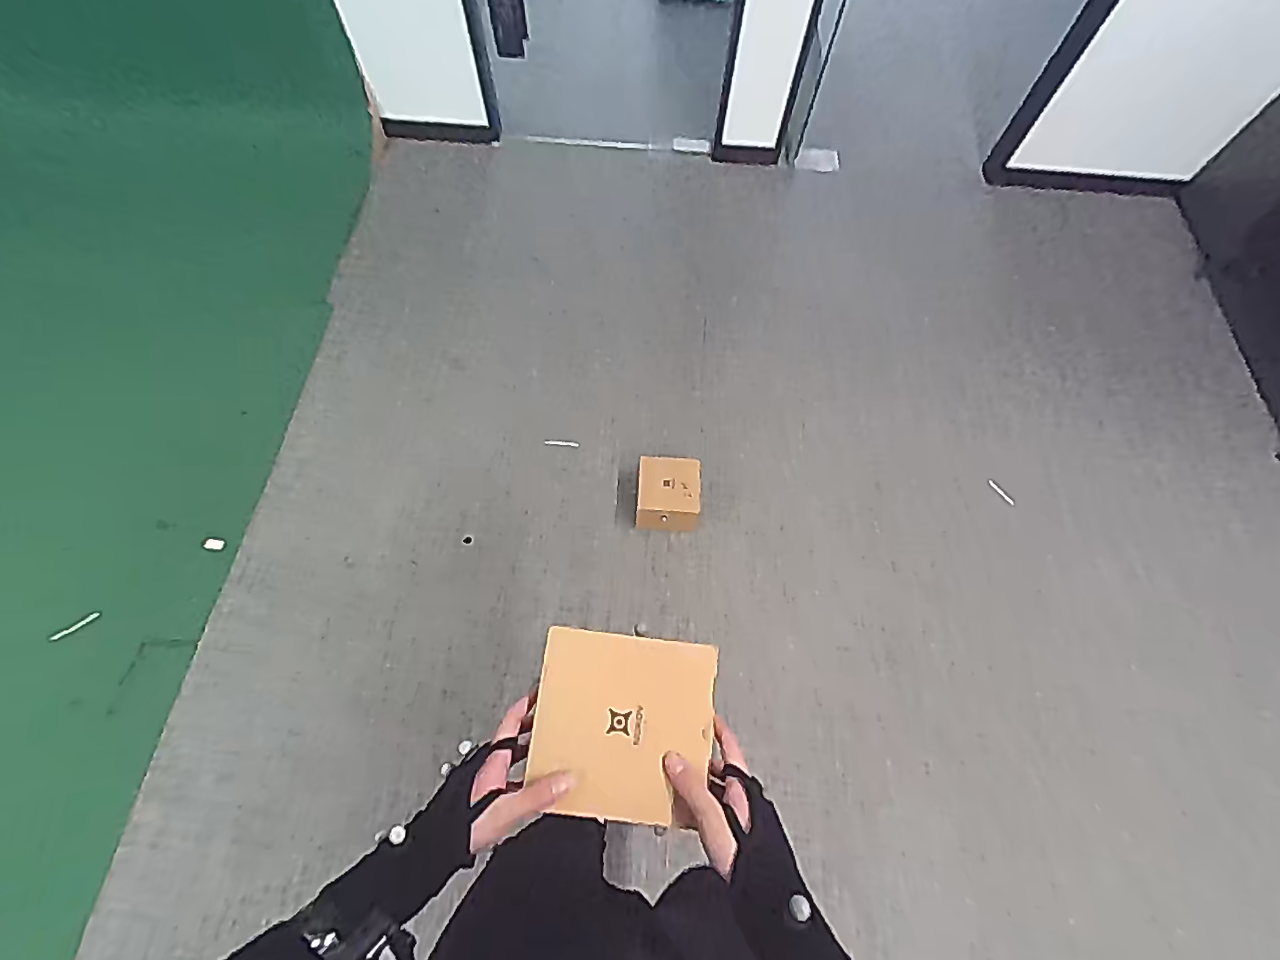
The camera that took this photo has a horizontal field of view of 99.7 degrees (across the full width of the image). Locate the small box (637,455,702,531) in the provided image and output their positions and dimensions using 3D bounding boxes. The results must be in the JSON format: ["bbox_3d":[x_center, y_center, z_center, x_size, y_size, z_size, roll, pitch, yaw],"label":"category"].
[{"bbox_3d":[0.082,0.042,1.582,0.179,0.176,0.168,4,66,-1],"label":"small box"}]

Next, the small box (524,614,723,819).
[{"bbox_3d":[-0.016,0.250,0.595,0.179,0.176,0.168,8,70,-1],"label":"small box"}]
